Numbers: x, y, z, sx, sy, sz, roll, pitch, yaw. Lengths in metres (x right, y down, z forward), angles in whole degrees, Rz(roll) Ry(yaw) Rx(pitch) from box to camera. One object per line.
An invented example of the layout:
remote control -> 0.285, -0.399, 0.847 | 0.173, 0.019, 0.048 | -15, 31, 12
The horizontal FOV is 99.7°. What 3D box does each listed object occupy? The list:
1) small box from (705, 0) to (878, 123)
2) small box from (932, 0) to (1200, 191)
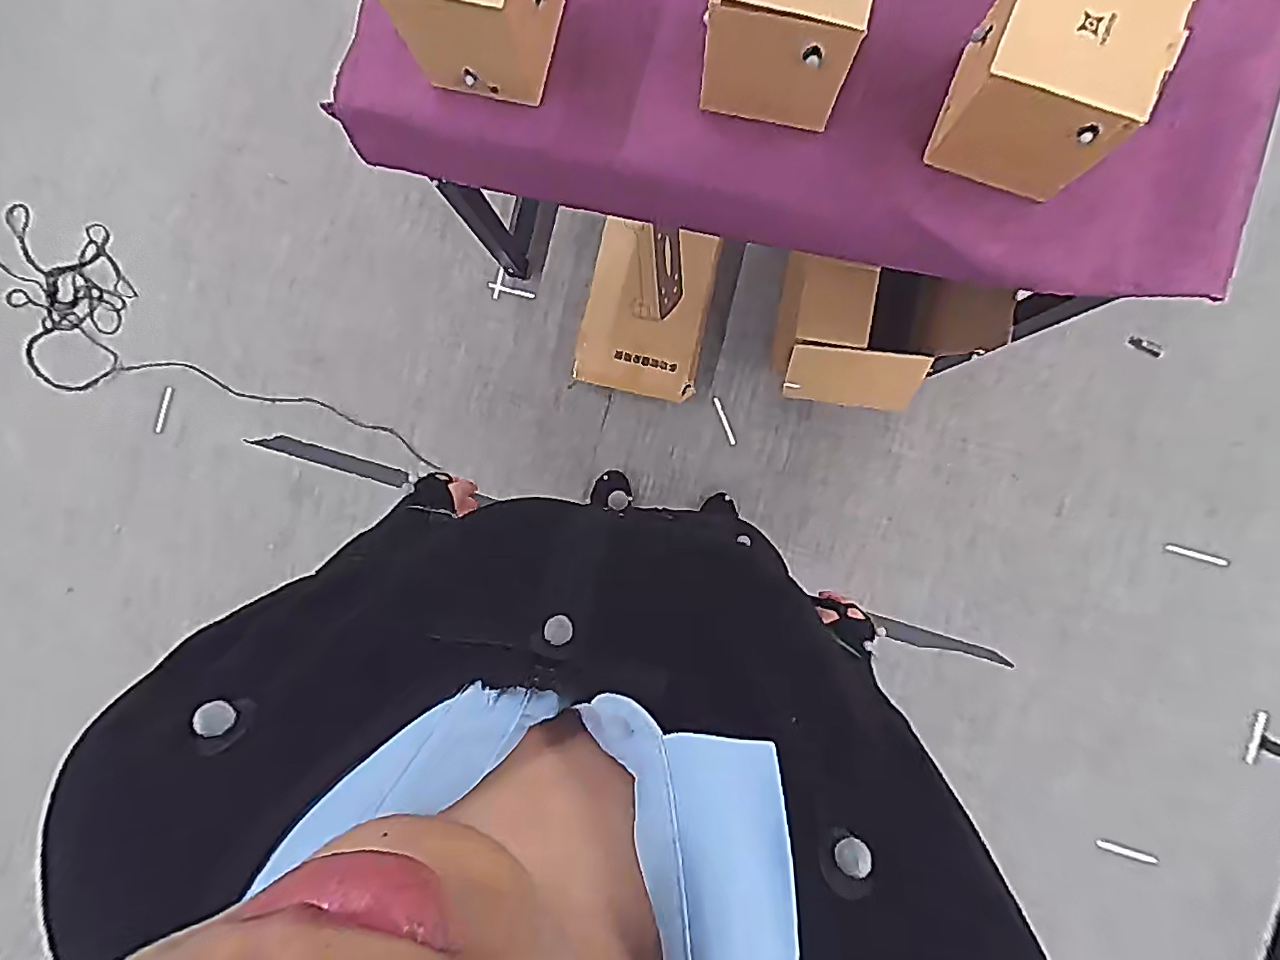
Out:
small box -> 0.186, -0.580, 0.663 | 0.179, 0.176, 0.168 | 13, 89, 3
small box -> 0.489, -0.483, 0.646 | 0.179, 0.176, 0.168 | 20, 92, 3
